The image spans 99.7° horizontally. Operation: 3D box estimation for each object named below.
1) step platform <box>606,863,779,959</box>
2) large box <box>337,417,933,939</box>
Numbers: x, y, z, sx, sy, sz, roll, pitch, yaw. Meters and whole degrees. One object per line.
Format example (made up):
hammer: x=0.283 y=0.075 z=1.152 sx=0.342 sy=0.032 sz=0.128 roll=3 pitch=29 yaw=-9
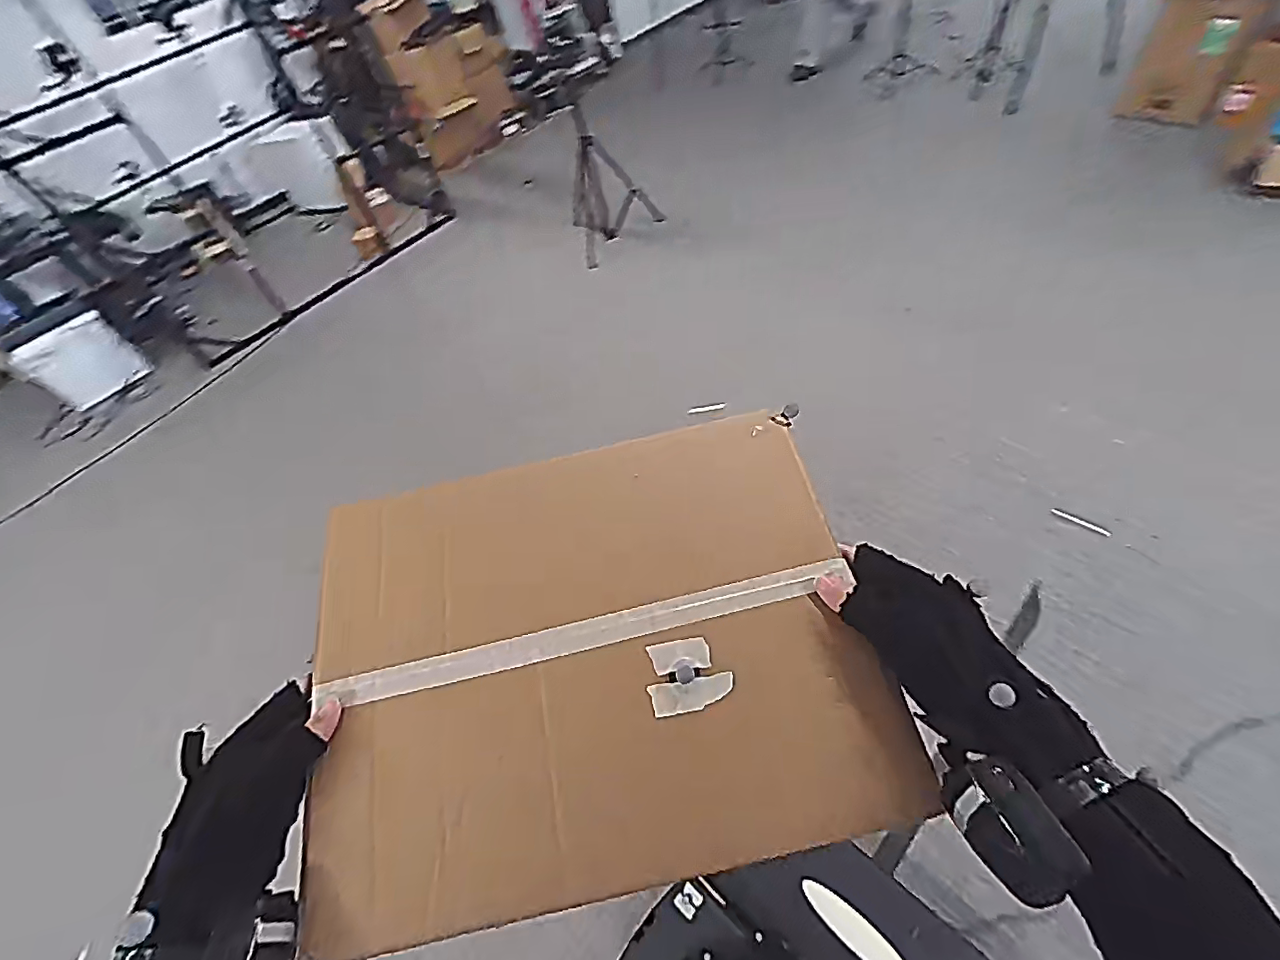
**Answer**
step platform: x=0.245 y=1.117 z=1.041 sx=0.684 sy=0.204 sz=0.286 roll=29 pitch=64 yaw=34
large box: x=-0.018 y=0.187 z=0.546 sx=0.408 sy=0.320 sz=0.320 roll=-13 pitch=62 yaw=0
